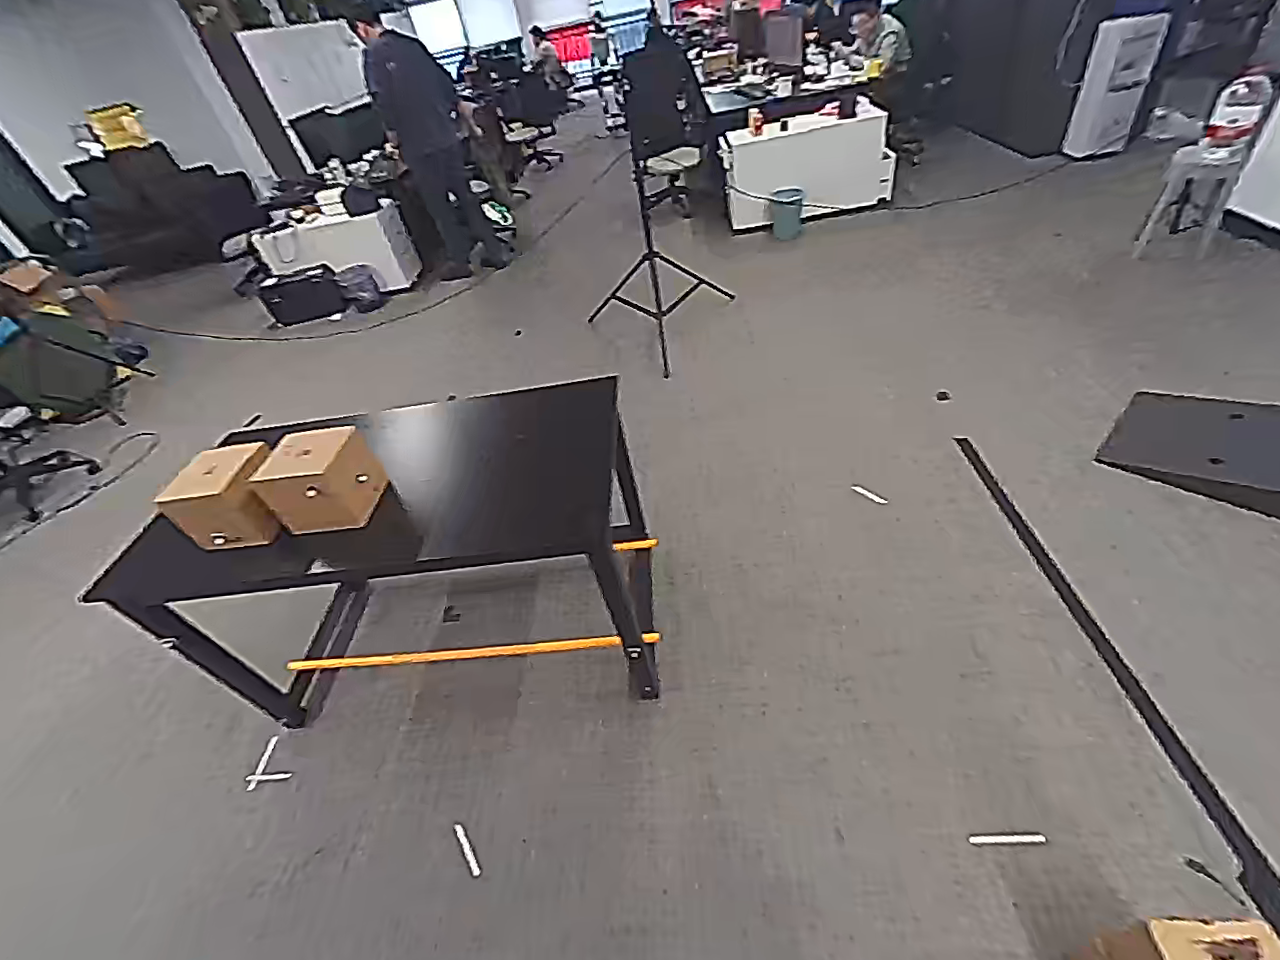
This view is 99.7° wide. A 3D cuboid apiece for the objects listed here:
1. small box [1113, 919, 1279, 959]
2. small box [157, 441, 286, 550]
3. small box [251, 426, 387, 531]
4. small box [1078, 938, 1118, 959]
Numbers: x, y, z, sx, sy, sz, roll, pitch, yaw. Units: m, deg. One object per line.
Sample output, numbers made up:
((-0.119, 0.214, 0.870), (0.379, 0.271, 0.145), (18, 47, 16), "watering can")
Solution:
((0.869, 0.785, 0.807), (0.168, 0.176, 0.179), (-6, 43, 9), "small box")
((-0.929, 0.037, 1.247), (0.168, 0.176, 0.179), (-8, 43, 8), "small box")
((-0.713, -0.001, 1.229), (0.179, 0.176, 0.168), (-6, 42, 8), "small box")
((0.892, 0.904, 0.920), (0.179, 0.176, 0.168), (-6, 42, 9), "small box")
